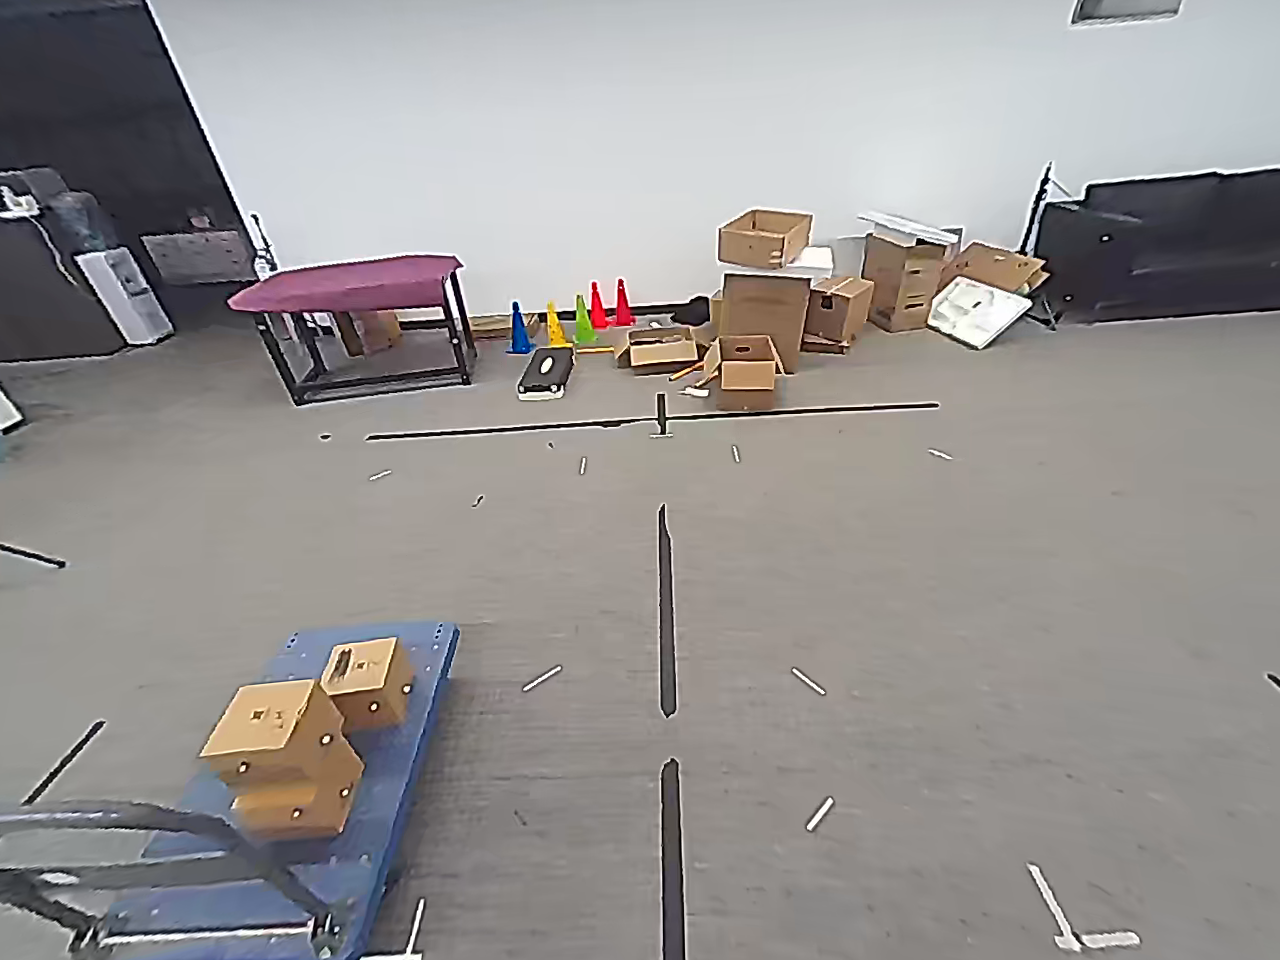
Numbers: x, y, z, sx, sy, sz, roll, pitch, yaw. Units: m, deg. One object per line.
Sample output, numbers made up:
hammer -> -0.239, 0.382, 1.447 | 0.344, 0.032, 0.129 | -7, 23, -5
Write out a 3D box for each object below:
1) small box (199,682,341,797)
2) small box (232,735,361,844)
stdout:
small box -> -0.810, 0.581, 1.206 | 0.179, 0.176, 0.168 | -5, 35, -2
small box -> -0.798, 0.731, 1.278 | 0.179, 0.176, 0.168 | -5, 34, -2
